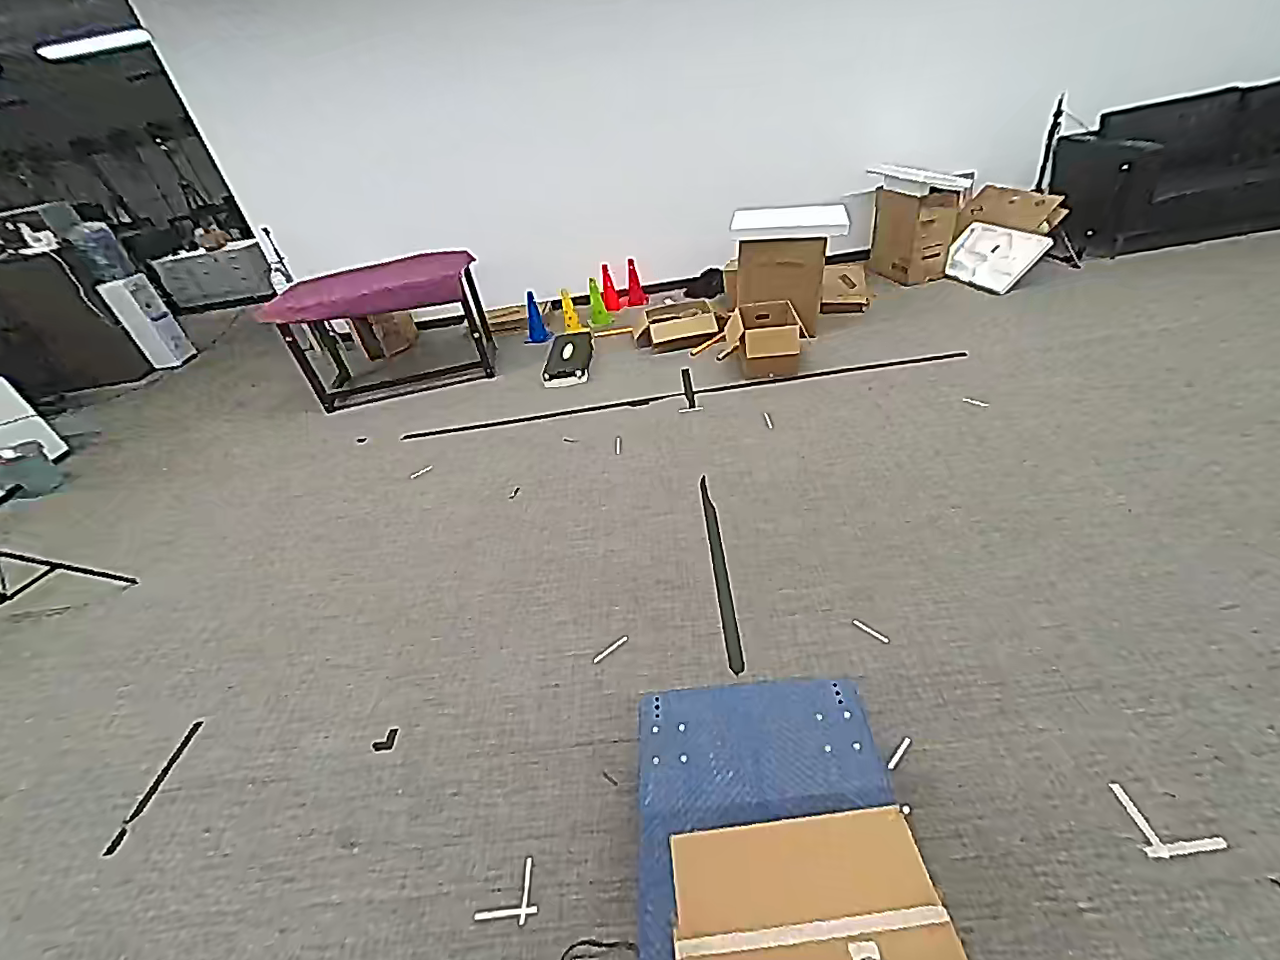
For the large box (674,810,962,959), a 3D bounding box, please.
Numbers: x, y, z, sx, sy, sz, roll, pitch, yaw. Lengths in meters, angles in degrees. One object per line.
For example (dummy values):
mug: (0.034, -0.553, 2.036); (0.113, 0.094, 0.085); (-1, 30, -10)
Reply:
large box: (0.284, 0.813, 0.906); (0.408, 0.320, 0.320); (-8, 36, 1)
